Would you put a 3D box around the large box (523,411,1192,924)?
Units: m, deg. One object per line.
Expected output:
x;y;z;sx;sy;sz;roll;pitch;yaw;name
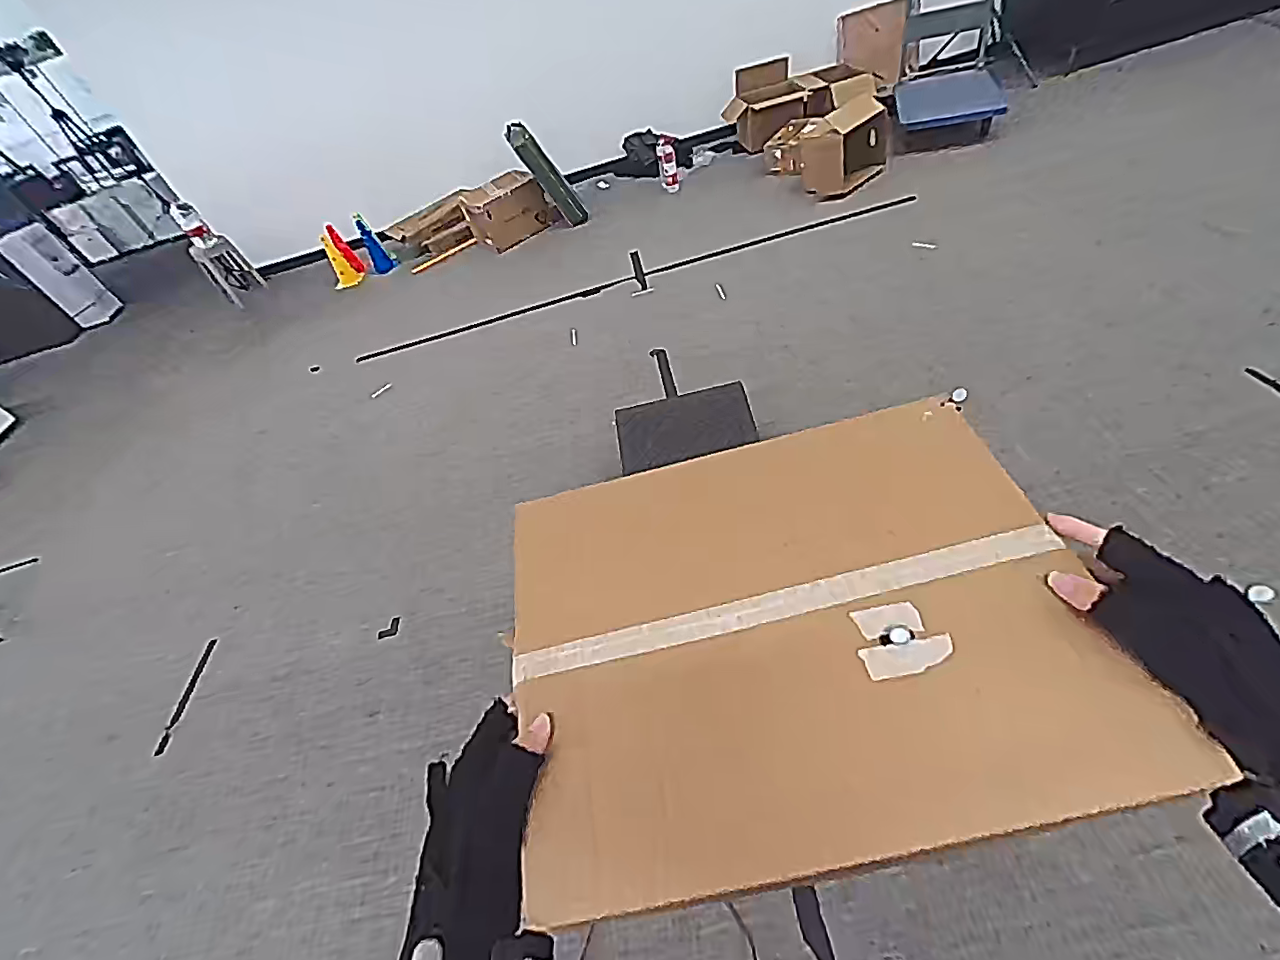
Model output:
0.133;0.191;0.528;0.408;0.320;0.320;-15;51;3;large box
